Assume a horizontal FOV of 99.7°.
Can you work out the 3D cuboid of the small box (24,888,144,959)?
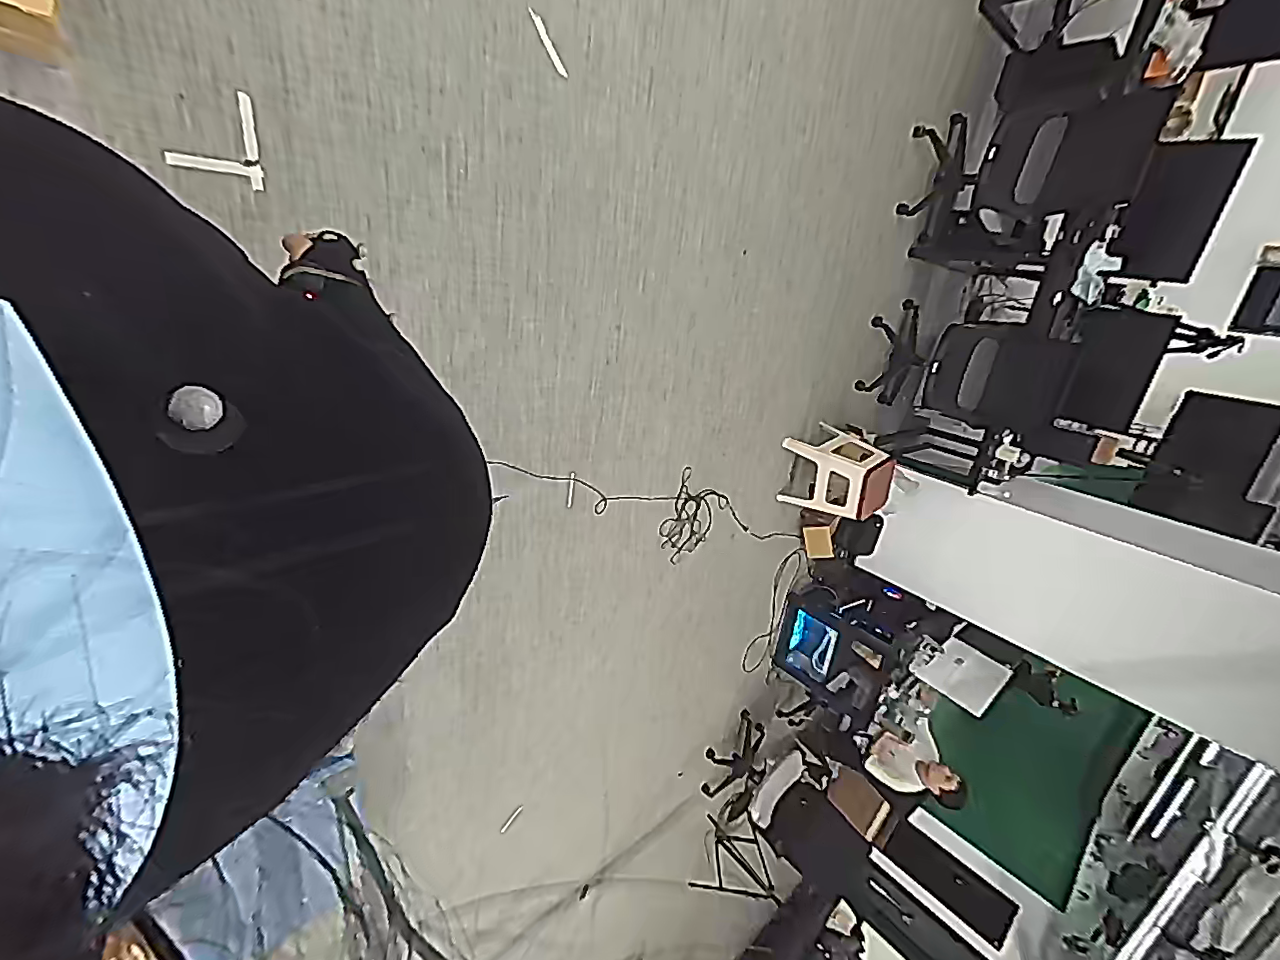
[{"bbox_3d":[-1.221,1.068,1.195,0.168,0.176,0.179,-13,119,-41],"label":"small box"}]

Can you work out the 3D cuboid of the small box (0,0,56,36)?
[{"bbox_3d":[-0.861,-0.706,0.674,0.168,0.176,0.179,-4,114,-43],"label":"small box"}]
